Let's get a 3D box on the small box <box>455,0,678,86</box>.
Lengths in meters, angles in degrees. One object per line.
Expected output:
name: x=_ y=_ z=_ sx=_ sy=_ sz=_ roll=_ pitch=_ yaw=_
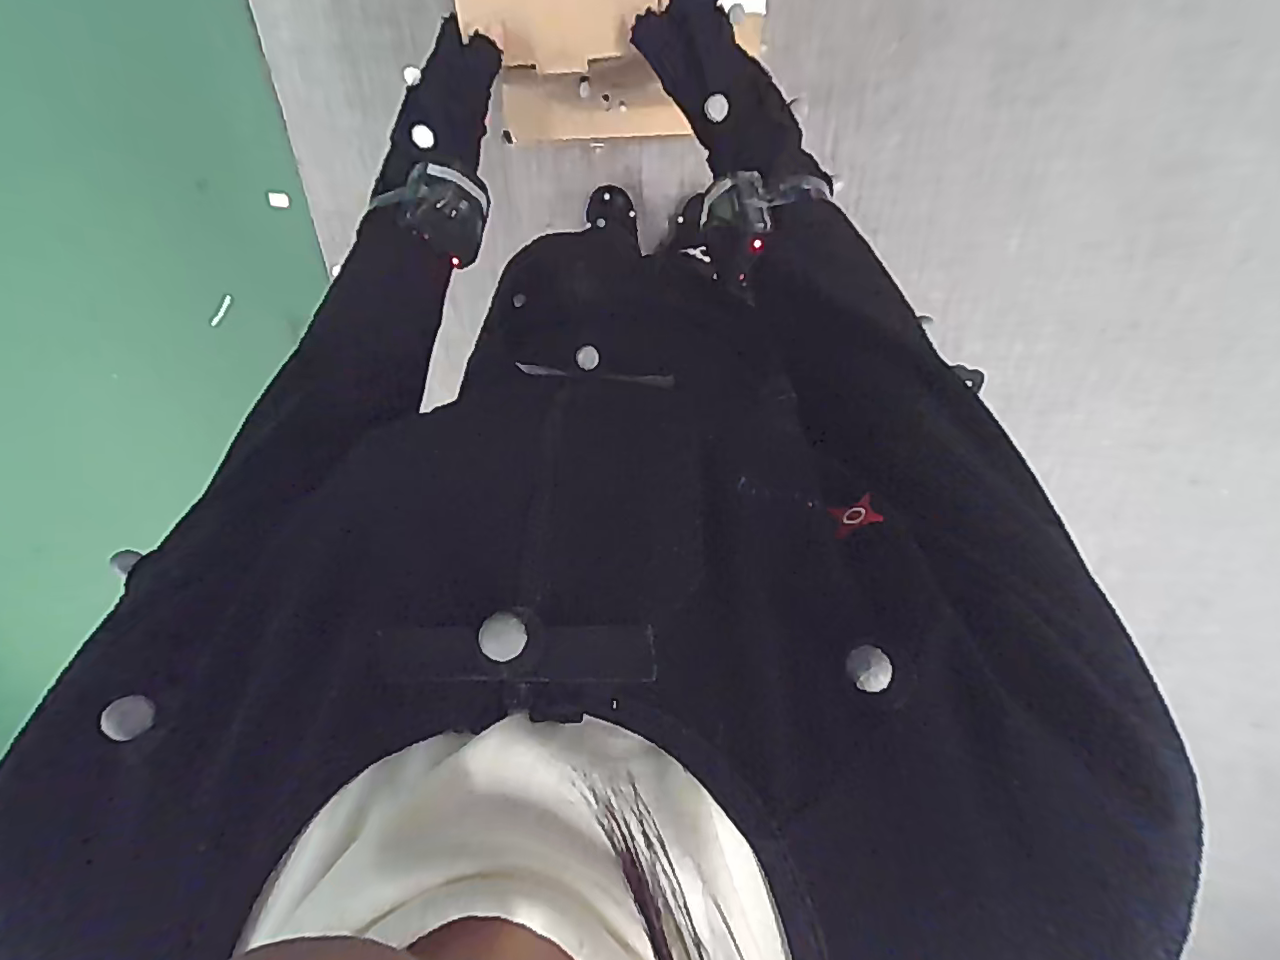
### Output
small box: x=-0.057 y=-0.456 z=0.469 sx=0.168 sy=0.176 sz=0.179 roll=2 pitch=122 yaw=9

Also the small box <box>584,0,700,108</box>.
small box: x=-0.010 y=-0.623 z=0.746 sx=0.179 sy=0.176 sz=0.168 roll=1 pitch=122 yaw=8

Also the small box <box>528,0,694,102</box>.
small box: x=-0.029 y=-0.535 z=0.609 sx=0.179 sy=0.176 sz=0.168 roll=2 pitch=122 yaw=10
